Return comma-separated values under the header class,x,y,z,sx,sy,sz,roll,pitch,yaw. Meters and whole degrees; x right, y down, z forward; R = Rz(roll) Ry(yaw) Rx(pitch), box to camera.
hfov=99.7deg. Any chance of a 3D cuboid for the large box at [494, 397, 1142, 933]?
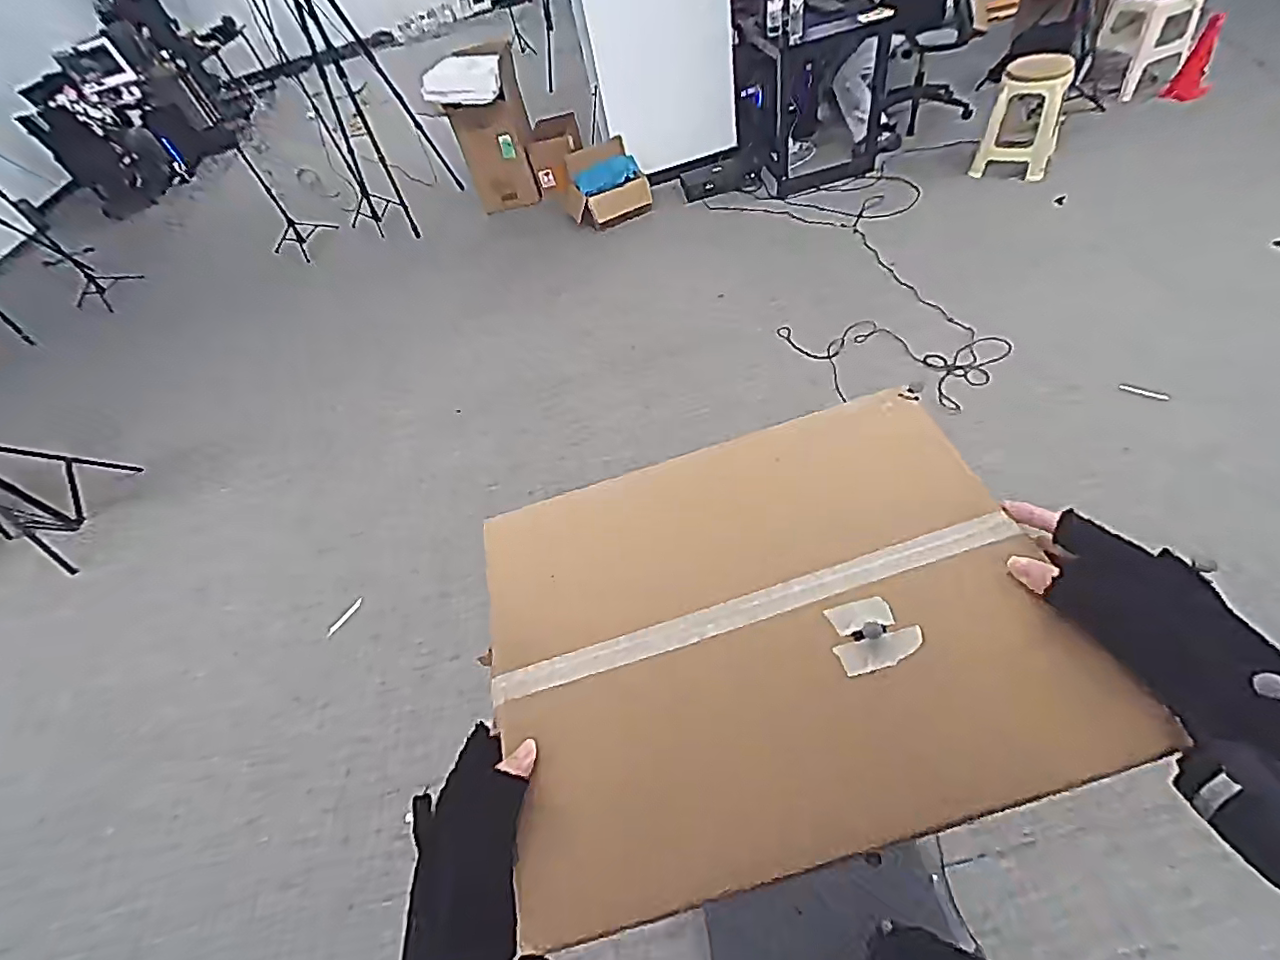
class,x,y,z,sx,sy,sz,roll,pitch,yaw
large box,0.114,0.184,0.539,0.408,0.320,0.320,-18,54,0
